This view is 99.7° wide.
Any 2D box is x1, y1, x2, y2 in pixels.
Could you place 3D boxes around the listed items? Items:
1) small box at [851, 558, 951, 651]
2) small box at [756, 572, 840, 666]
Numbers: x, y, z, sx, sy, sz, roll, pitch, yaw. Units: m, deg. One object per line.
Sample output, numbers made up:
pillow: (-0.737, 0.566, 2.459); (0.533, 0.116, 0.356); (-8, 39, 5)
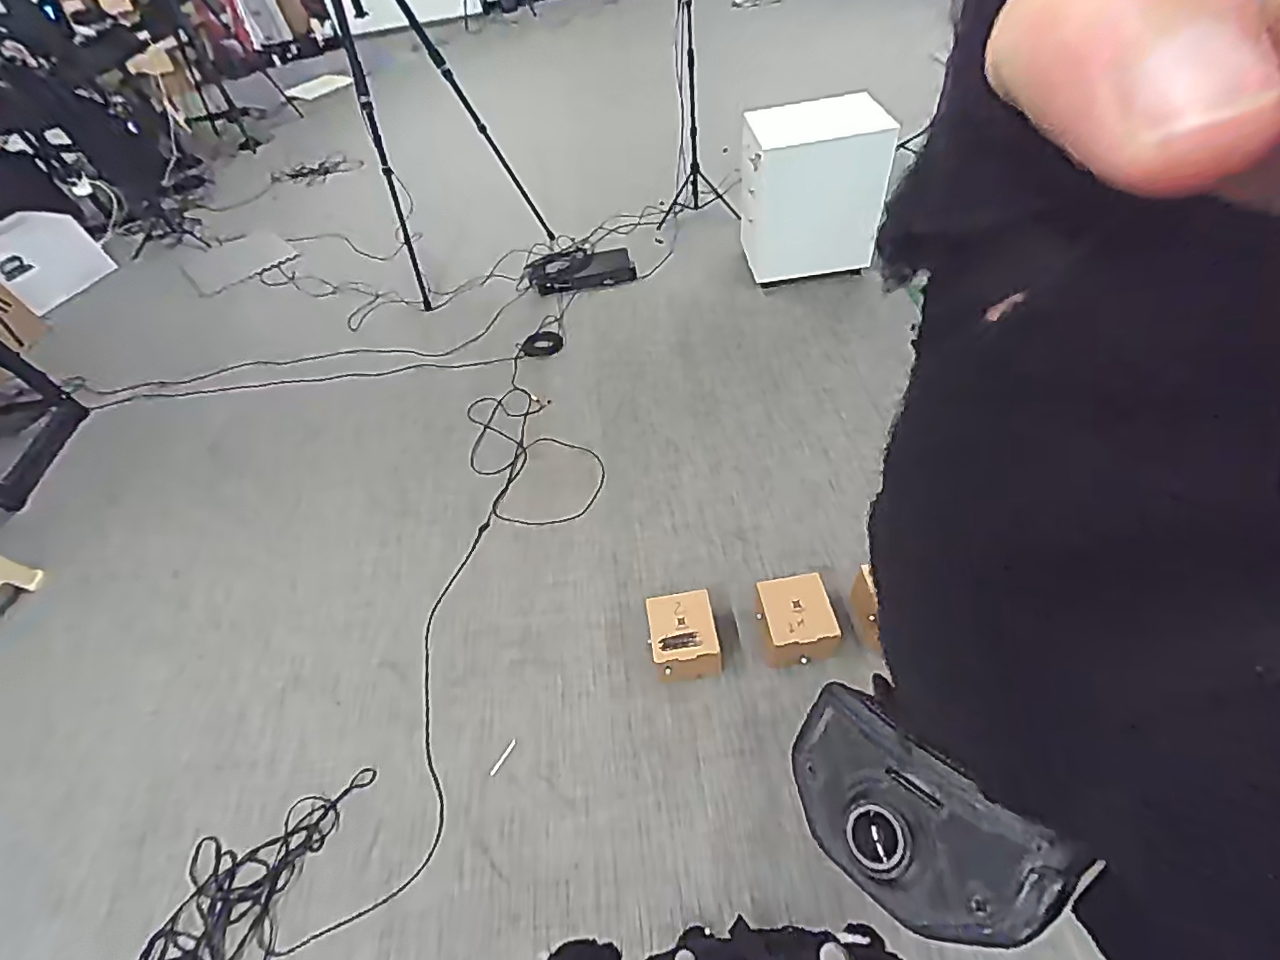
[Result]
small box: (0.671, 0.328, 1.415); (0.168, 0.176, 0.179); (-7, 52, 2)
small box: (0.405, 0.368, 1.421); (0.168, 0.176, 0.179); (-10, 52, 2)
